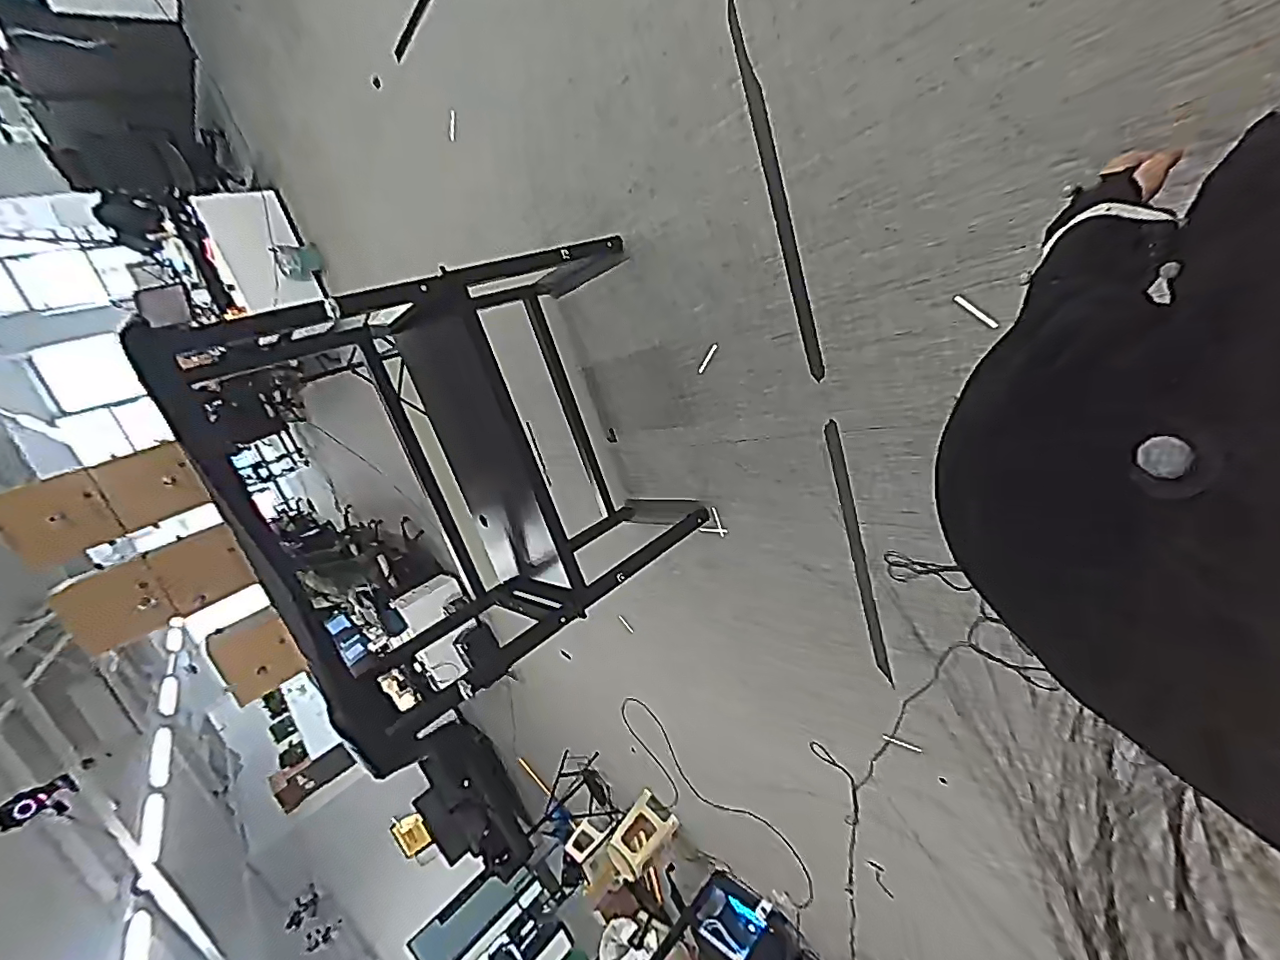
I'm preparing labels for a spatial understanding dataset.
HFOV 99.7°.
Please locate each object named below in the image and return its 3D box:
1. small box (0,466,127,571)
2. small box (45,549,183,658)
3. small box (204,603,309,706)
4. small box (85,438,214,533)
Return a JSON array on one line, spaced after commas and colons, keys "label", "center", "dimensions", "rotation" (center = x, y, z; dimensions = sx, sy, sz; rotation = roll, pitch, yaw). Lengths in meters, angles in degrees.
[{"label": "small box", "center": [-1.251, 0.073, 1.172], "dimensions": [0.179, 0.176, 0.168], "rotation": [3, 116, 49]}, {"label": "small box", "center": [-1.188, 0.272, 1.241], "dimensions": [0.179, 0.176, 0.168], "rotation": [-1, 115, 51]}, {"label": "small box", "center": [-0.994, 0.445, 1.408], "dimensions": [0.179, 0.176, 0.168], "rotation": [4, 117, 50]}, {"label": "small box", "center": [-1.133, 0.007, 1.266], "dimensions": [0.179, 0.176, 0.168], "rotation": [2, 117, 50]}]
